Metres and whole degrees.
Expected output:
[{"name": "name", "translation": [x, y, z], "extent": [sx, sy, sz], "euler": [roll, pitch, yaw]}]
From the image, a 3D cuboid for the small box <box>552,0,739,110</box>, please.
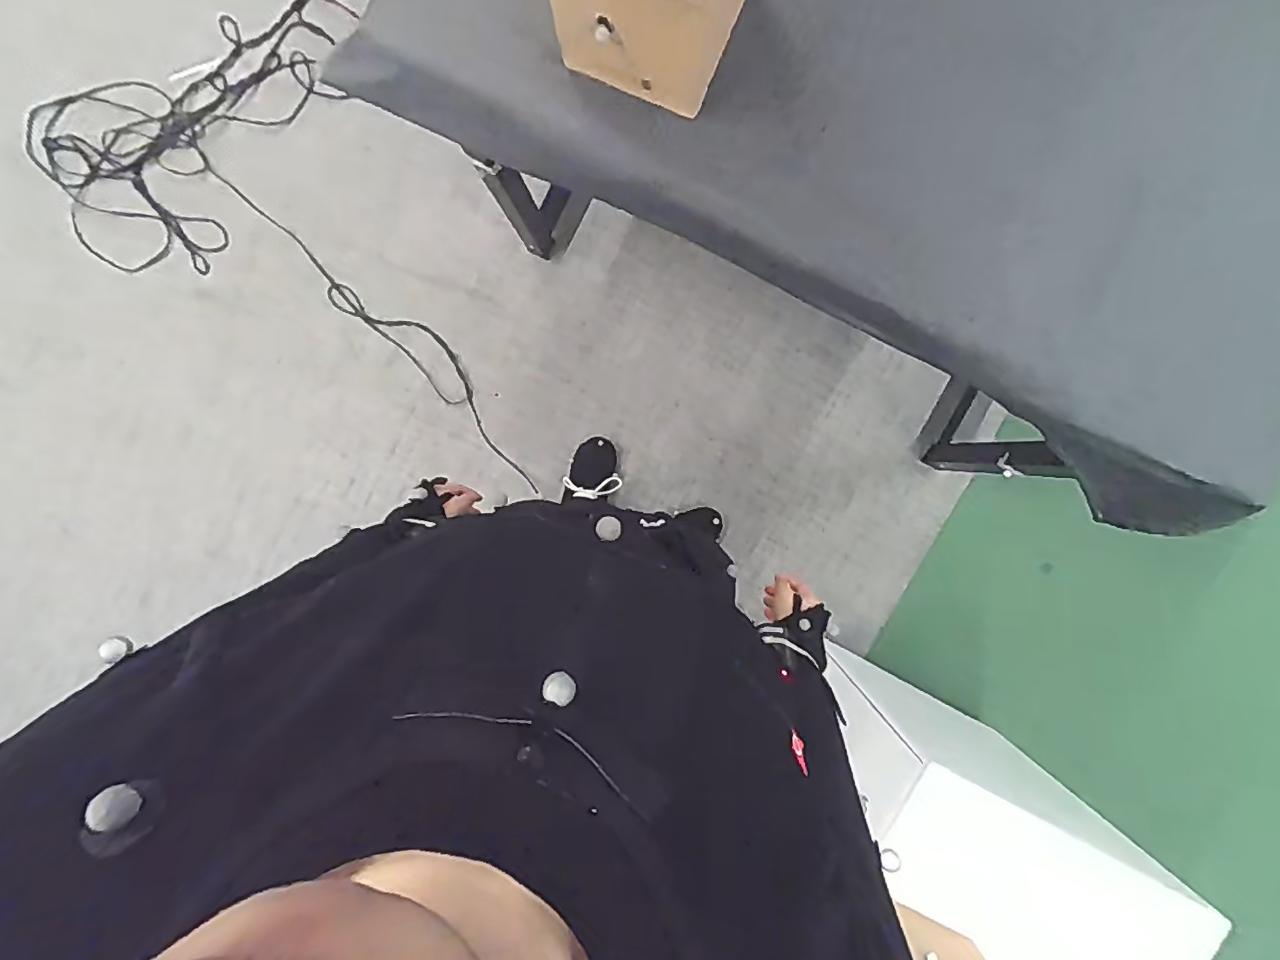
[{"name": "small box", "translation": [0.016, -0.525, 0.543], "extent": [0.168, 0.176, 0.179], "euler": [23, 93, -1]}]
